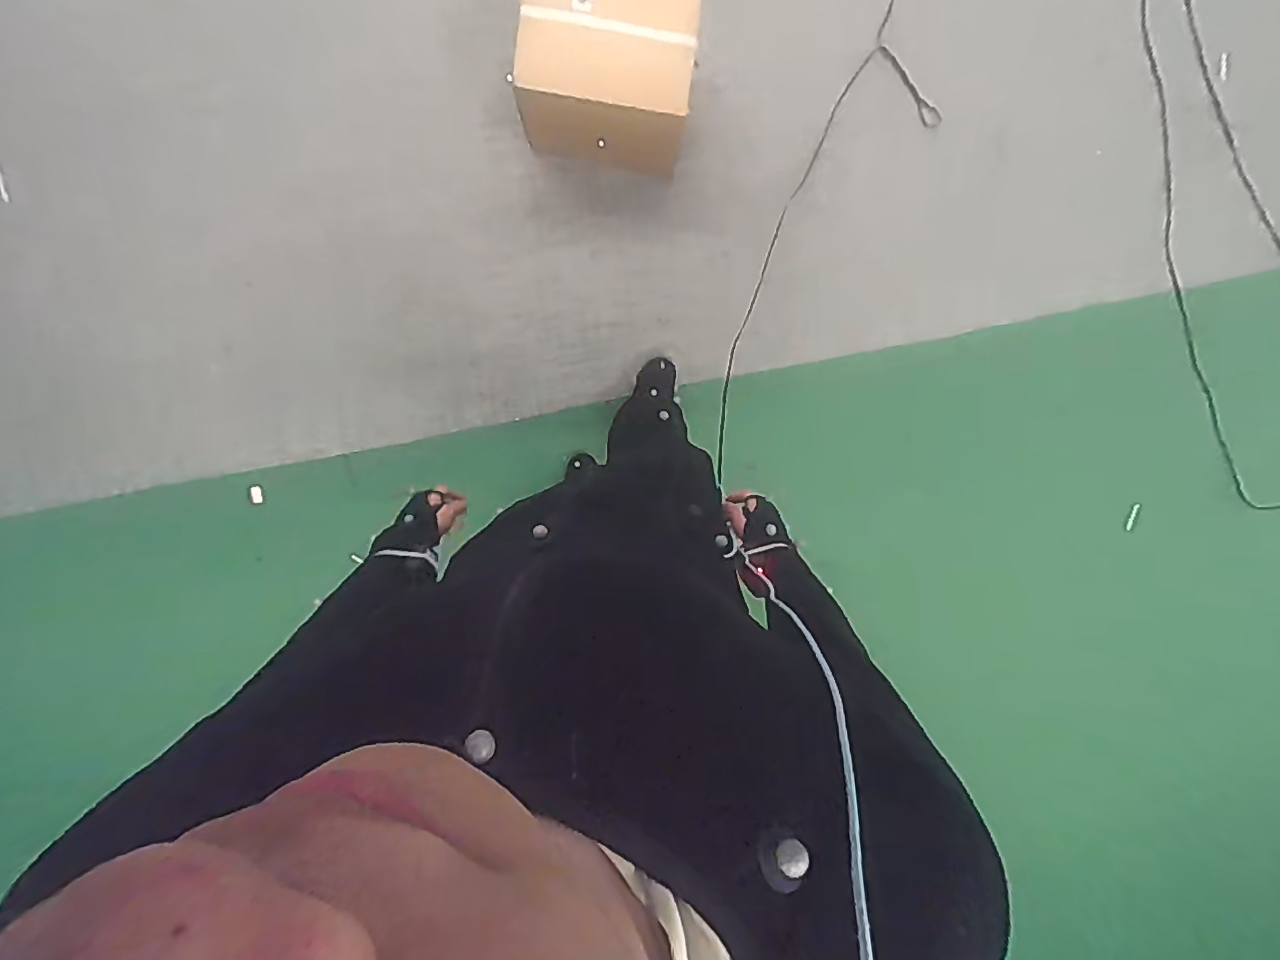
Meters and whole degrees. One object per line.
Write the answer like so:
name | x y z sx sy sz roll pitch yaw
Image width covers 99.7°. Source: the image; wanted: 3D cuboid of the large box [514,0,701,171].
large box | -0.076 -1.029 1.367 0.408 0.320 0.320 8 96 -3
